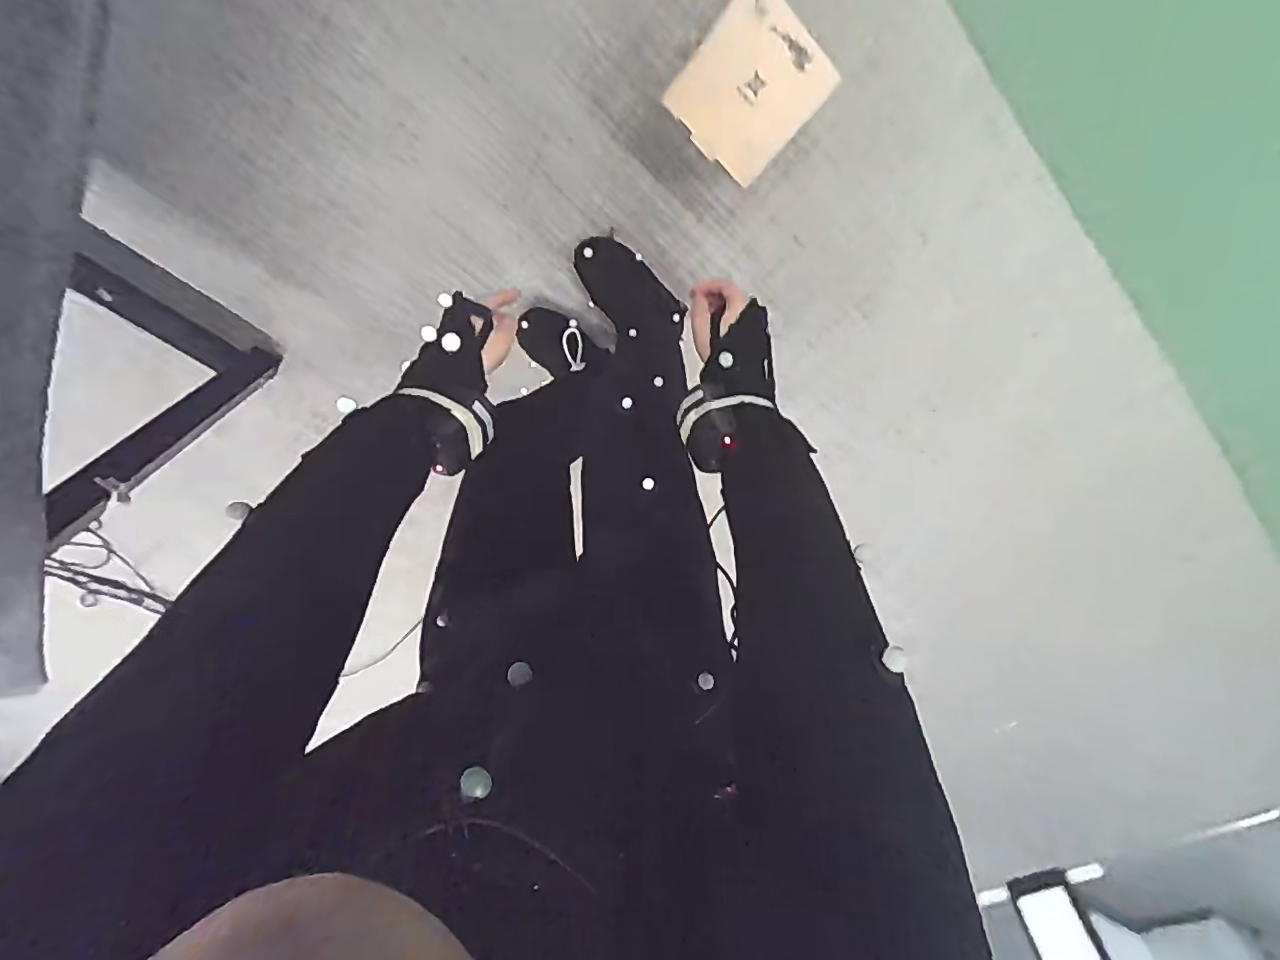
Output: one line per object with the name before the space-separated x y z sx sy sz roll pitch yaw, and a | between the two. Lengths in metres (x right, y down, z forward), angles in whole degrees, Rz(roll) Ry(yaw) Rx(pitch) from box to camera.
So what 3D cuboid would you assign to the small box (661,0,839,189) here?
small box | 0.148 -0.558 0.775 0.168 0.176 0.179 36 119 -22
